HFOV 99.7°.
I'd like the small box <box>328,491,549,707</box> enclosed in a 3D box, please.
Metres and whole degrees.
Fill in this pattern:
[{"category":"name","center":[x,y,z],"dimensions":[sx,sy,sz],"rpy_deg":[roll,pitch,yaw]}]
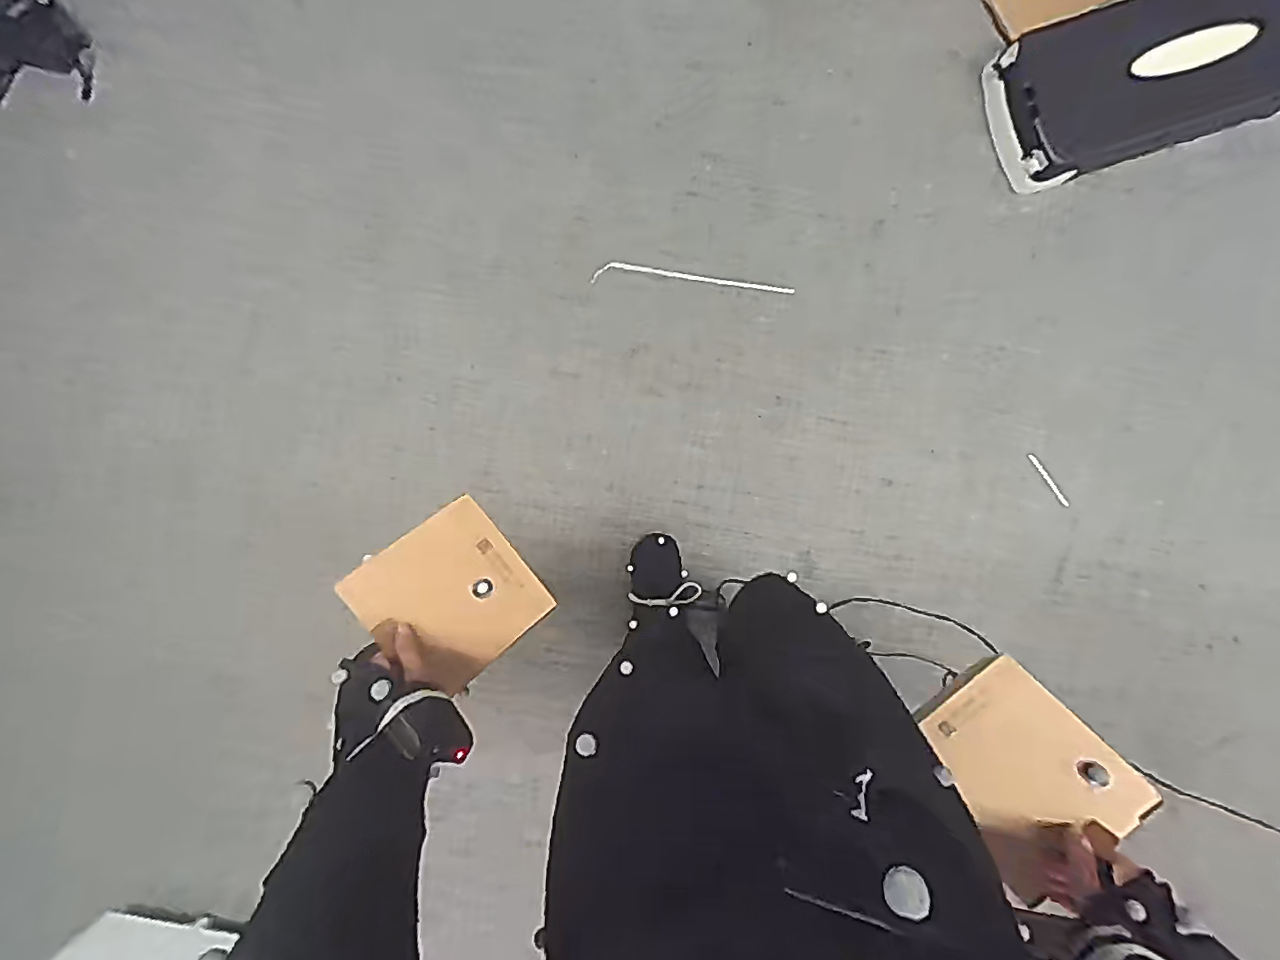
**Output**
[{"category":"small box","center":[-0.229,0.133,0.648],"dimensions":[0.176,0.179,0.168],"rpy_deg":[-38,93,-22]}]
